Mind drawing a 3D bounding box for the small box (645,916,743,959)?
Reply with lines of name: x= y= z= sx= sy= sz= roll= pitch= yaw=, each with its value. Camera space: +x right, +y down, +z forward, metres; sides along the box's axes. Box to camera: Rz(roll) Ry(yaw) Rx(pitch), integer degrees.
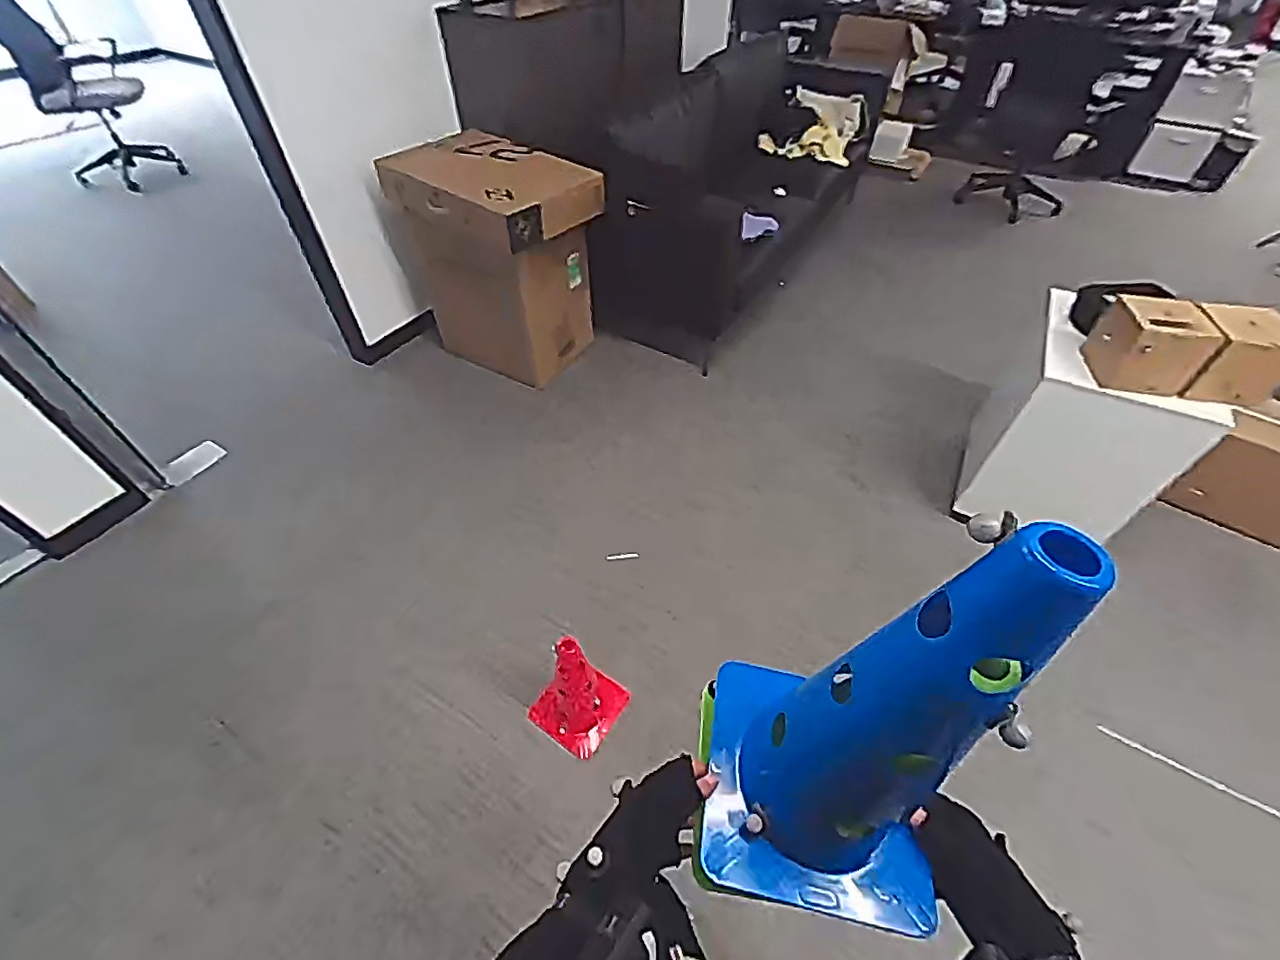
small box: x=0.103 y=0.948 z=1.029 sx=0.168 sy=0.176 sz=0.179 roll=1 pitch=51 yaw=-8
